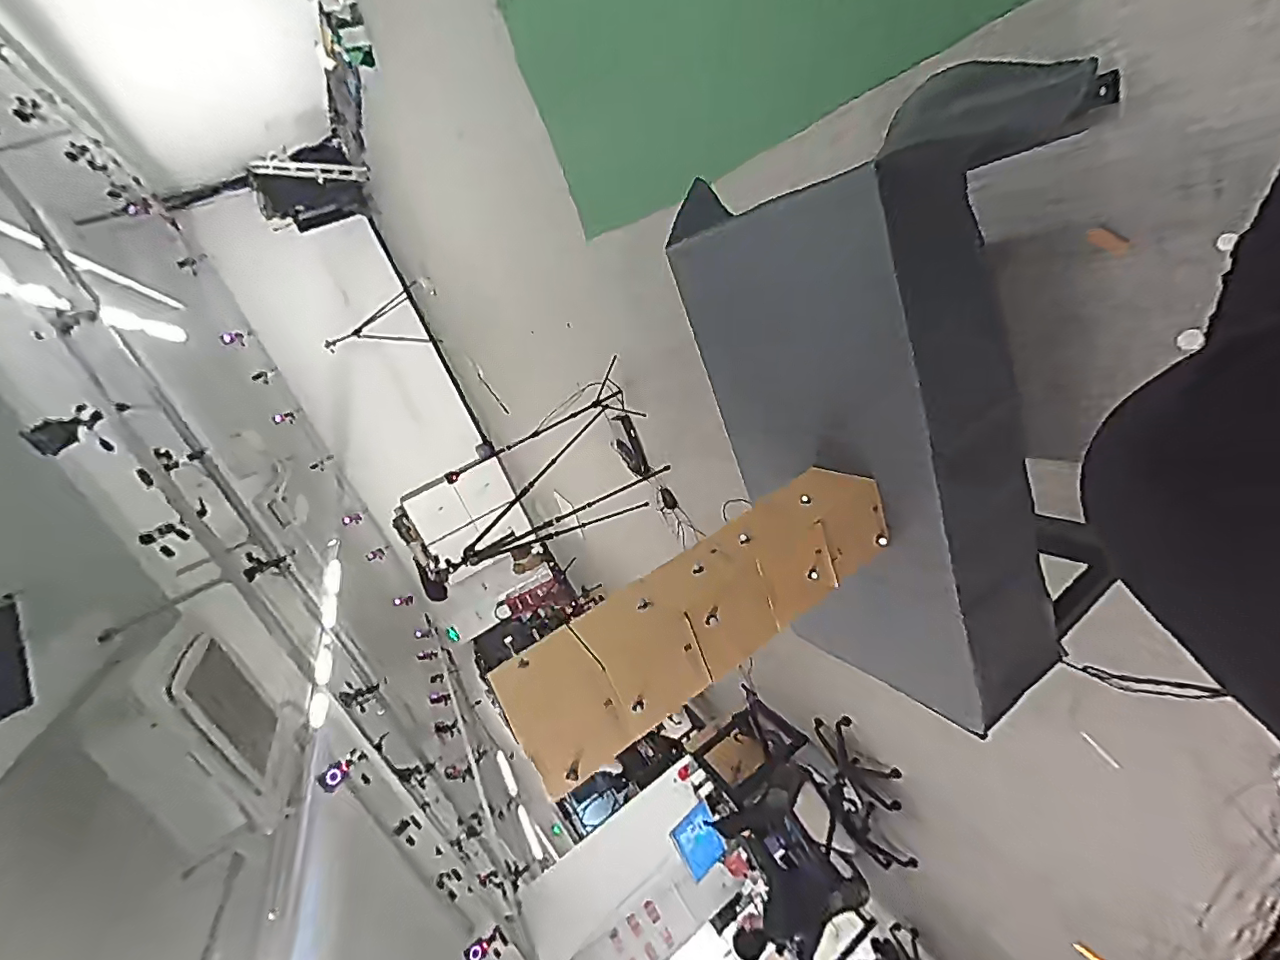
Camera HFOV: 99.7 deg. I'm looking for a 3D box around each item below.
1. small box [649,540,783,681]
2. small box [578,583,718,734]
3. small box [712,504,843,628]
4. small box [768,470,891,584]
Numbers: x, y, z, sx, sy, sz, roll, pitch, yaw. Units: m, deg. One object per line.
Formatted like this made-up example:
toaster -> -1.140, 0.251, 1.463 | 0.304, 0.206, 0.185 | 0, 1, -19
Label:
small box -> 0.150, 0.243, 1.057 | 0.168, 0.176, 0.179 | 21, 137, 60
small box -> 0.015, 0.316, 1.000 | 0.179, 0.176, 0.168 | 23, 138, 60
small box -> 0.284, 0.167, 1.116 | 0.179, 0.176, 0.168 | 19, 135, 61
small box -> 0.416, 0.092, 1.171 | 0.179, 0.176, 0.168 | 20, 136, 62
